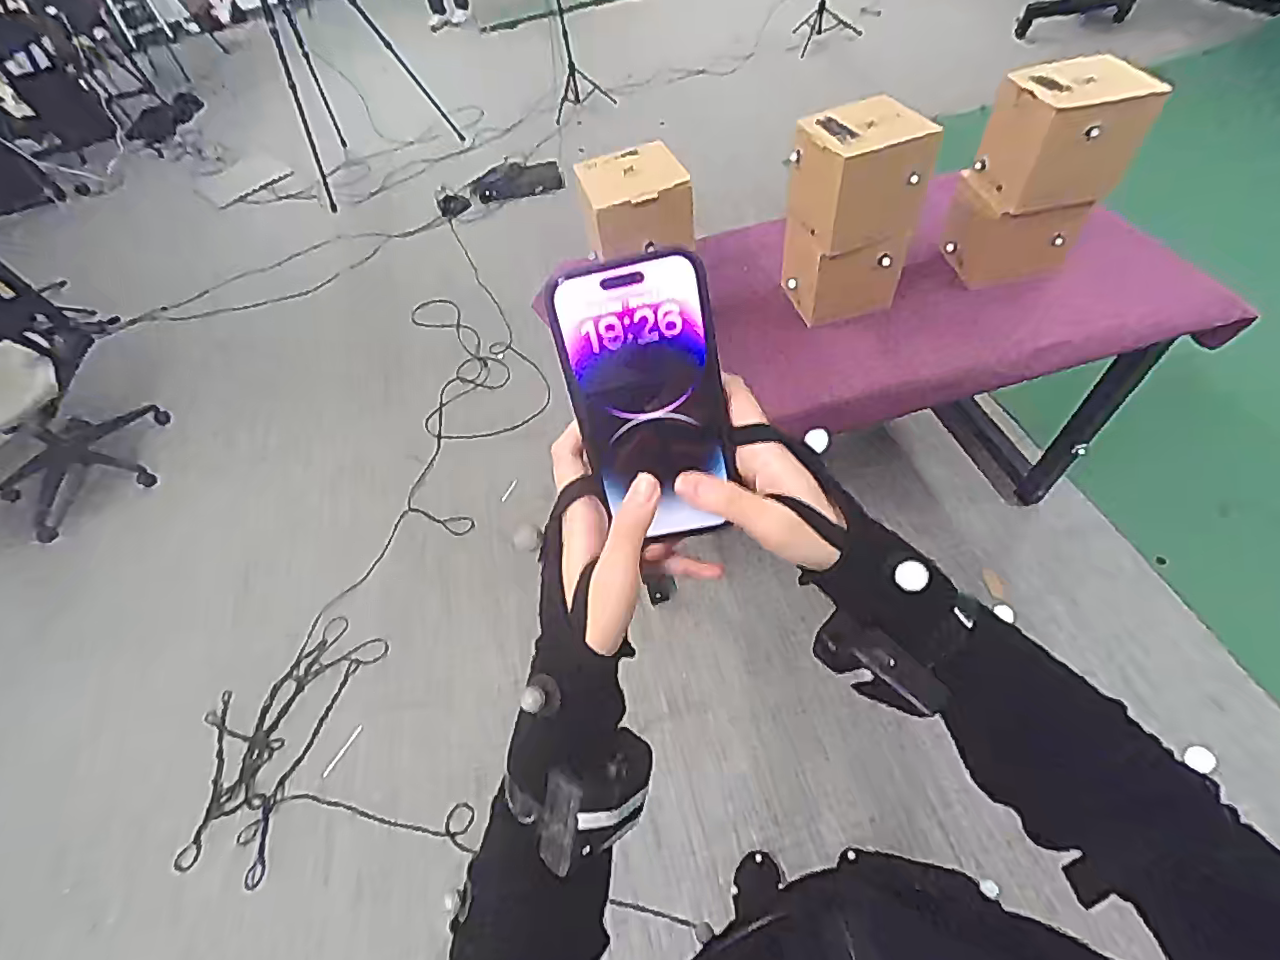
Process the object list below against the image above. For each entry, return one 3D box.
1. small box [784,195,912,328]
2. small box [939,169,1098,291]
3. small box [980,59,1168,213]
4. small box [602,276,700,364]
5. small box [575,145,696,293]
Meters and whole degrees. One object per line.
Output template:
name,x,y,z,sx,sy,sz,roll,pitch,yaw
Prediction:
small box,0.404,-0.434,1.084,0.179,0.176,0.168,-14,53,0
small box,0.737,-0.504,1.078,0.179,0.176,0.168,-9,53,4
small box,0.726,-0.589,0.938,0.179,0.176,0.168,-9,53,3
small box,0.021,-0.356,1.097,0.168,0.176,0.179,-13,53,0
small box,-0.004,-0.458,0.970,0.168,0.176,0.179,-17,54,-3
